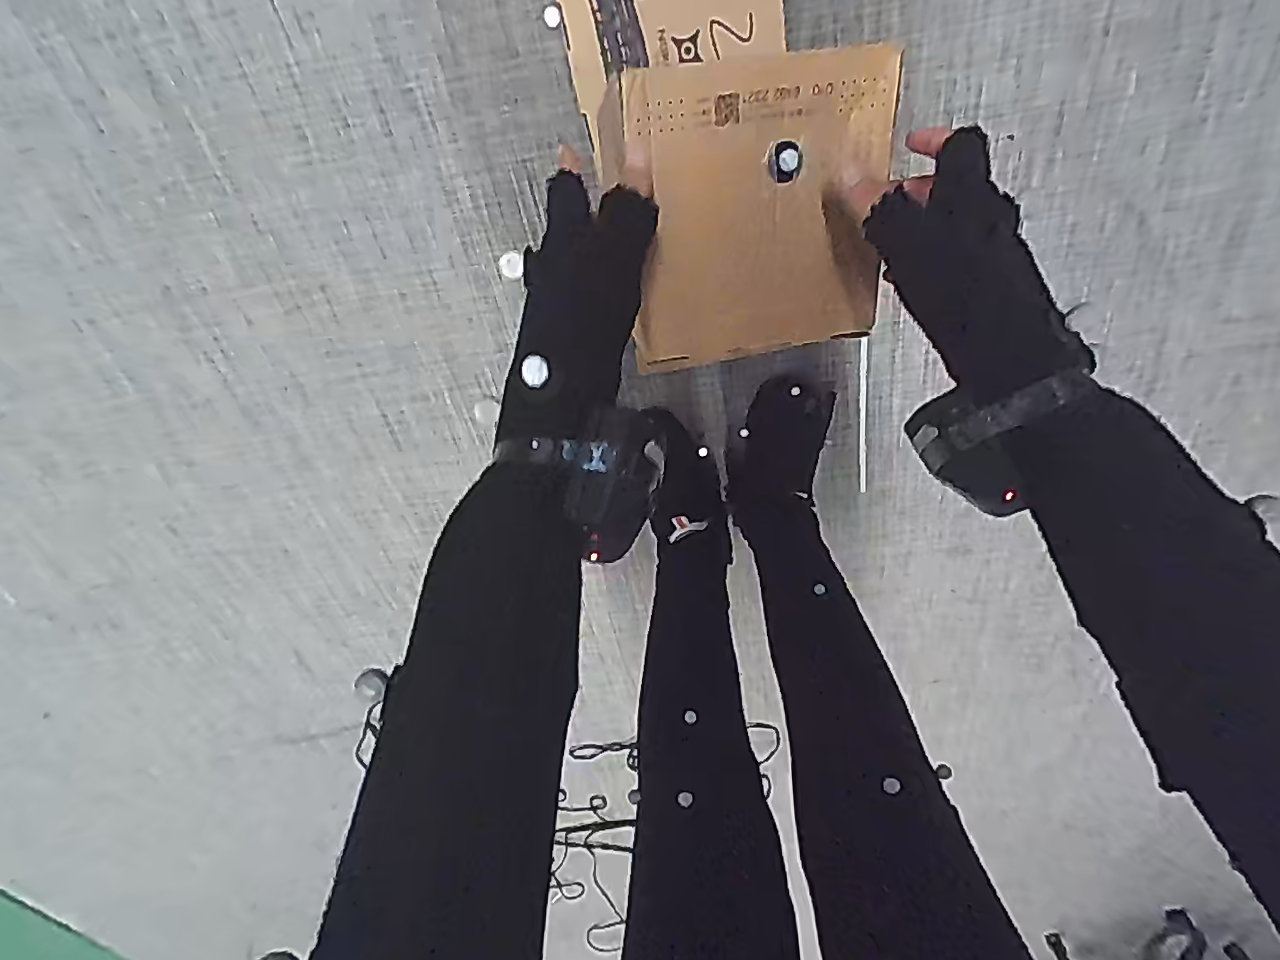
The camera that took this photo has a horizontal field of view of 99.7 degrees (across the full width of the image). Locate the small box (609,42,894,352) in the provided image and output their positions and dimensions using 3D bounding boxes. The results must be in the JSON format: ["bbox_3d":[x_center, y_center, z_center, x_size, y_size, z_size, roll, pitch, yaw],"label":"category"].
[{"bbox_3d":[0.070,-0.209,0.411,0.168,0.179,0.176,-8,118,-4],"label":"small box"}]

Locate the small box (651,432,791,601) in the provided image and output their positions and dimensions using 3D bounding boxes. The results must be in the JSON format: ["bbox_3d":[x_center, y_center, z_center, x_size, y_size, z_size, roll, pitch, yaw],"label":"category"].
[{"bbox_3d":[0.115,0.051,0.817,0.168,0.176,0.179,-10,124,-4],"label":"small box"}]
